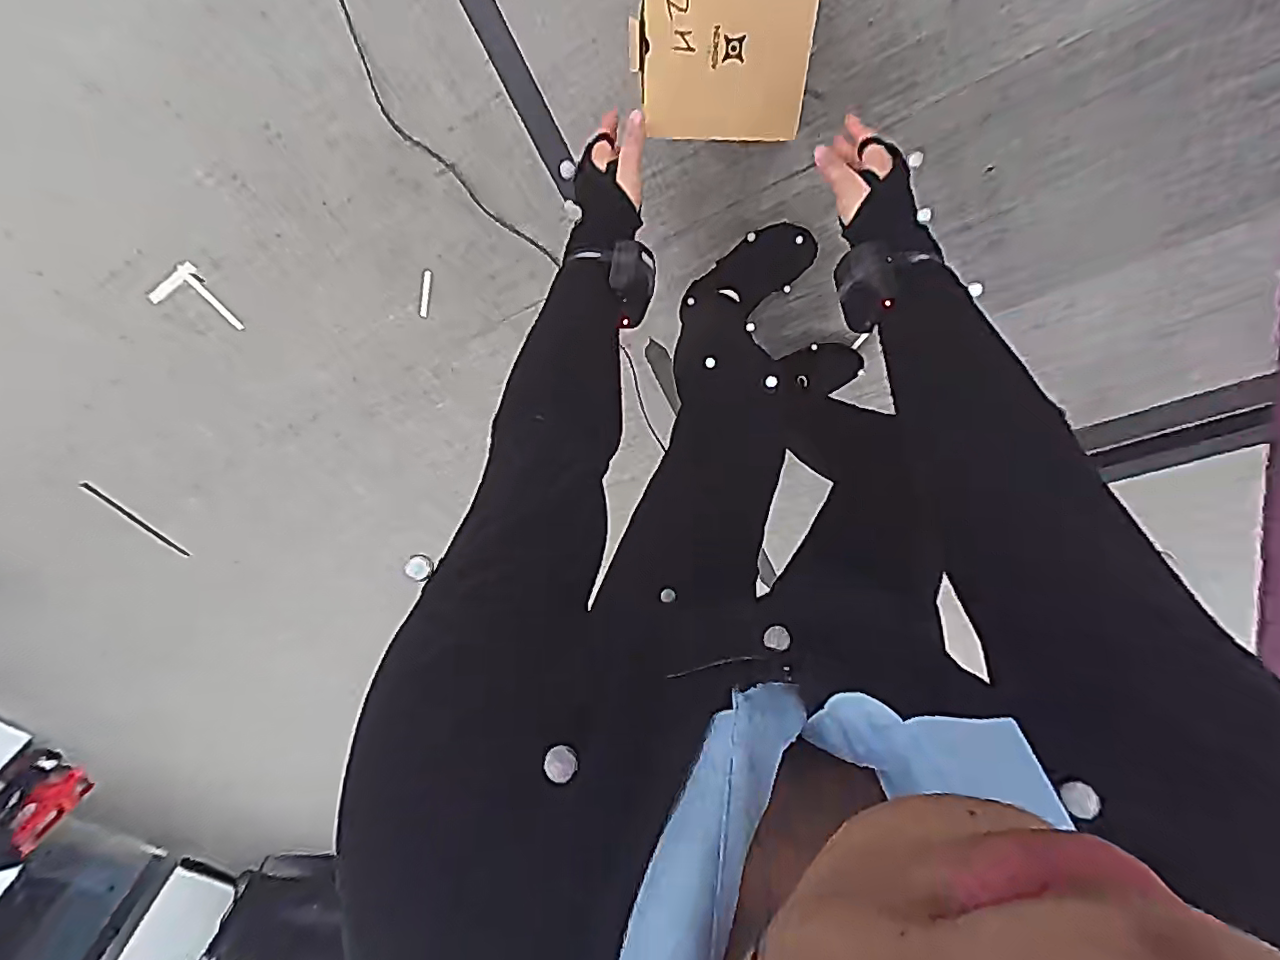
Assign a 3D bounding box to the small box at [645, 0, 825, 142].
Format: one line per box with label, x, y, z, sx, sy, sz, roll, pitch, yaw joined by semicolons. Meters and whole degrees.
small box;0.102;-0.497;0.611;0.179;0.176;0.168;5;132;6
